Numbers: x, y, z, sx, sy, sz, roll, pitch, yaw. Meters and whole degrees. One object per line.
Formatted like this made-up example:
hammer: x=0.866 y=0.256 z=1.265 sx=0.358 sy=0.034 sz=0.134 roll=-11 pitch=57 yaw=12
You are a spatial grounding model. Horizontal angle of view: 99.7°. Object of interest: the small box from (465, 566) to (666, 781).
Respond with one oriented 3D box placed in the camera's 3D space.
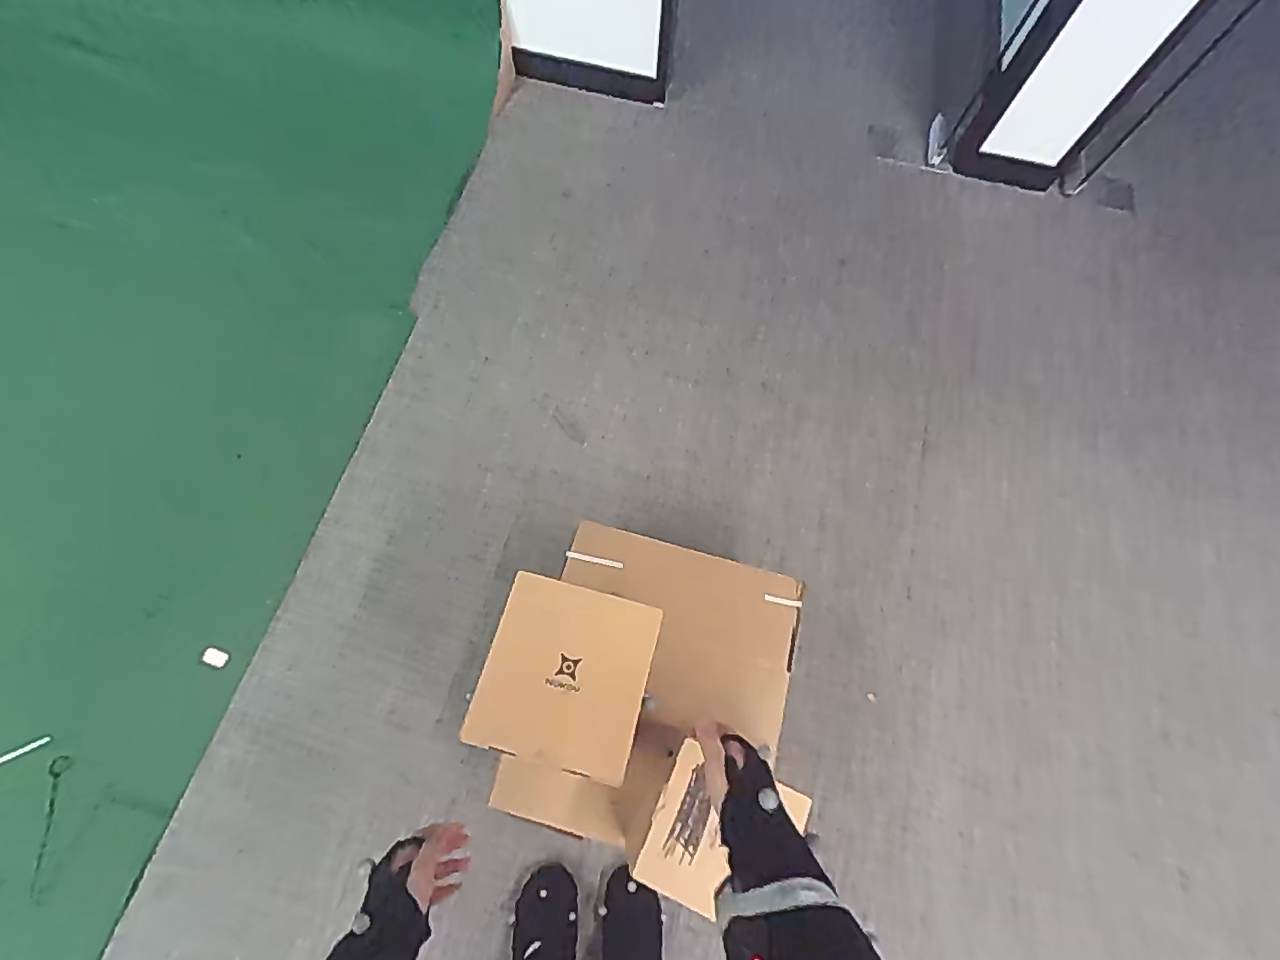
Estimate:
small box: x=-0.077 y=0.219 z=0.628 sx=0.168 sy=0.176 sz=0.179 roll=15 pitch=70 yaw=3
